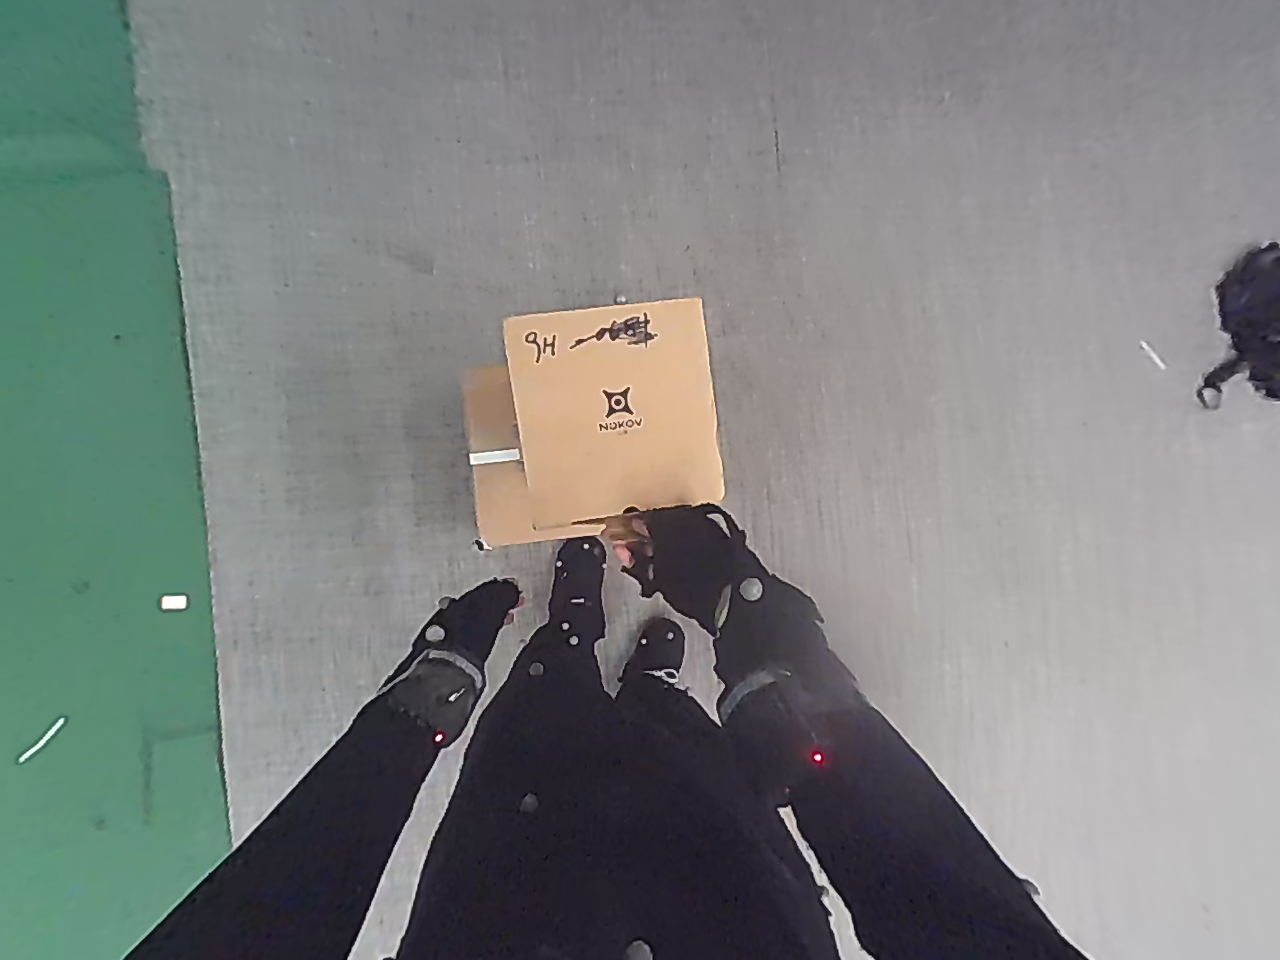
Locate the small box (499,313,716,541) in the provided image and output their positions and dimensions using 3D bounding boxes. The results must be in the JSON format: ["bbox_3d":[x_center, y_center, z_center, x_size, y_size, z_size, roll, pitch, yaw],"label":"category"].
[{"bbox_3d":[-0.033,-0.052,0.531,0.168,0.176,0.179,-9,96,-7],"label":"small box"}]
